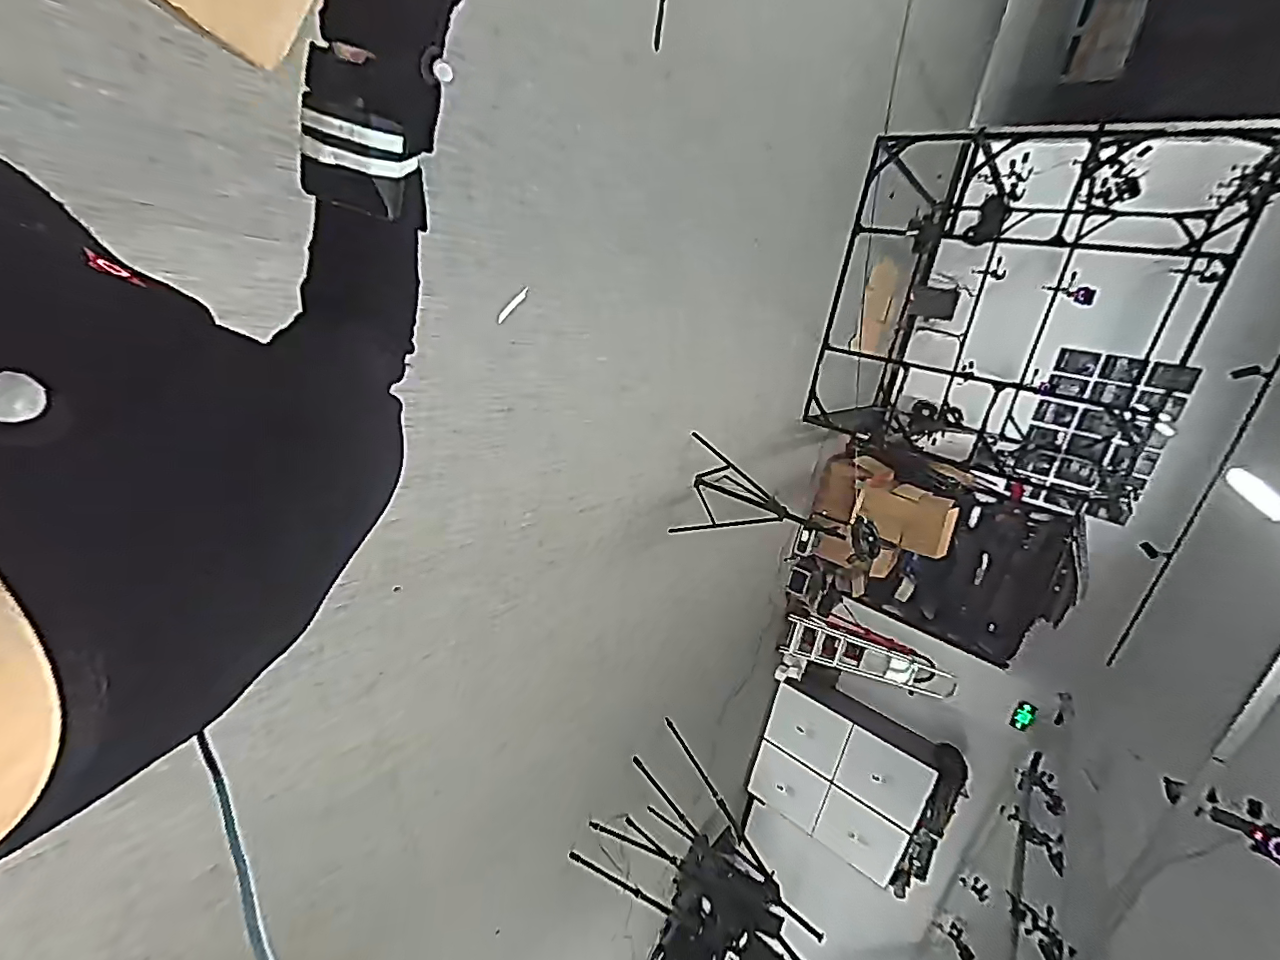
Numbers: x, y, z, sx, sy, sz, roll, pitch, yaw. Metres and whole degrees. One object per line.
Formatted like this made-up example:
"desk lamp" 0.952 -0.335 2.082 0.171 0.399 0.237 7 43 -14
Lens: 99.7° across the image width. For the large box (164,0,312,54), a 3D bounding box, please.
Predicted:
"large box" -0.336 -0.495 0.223 0.320 0.320 0.408 -55 145 11
